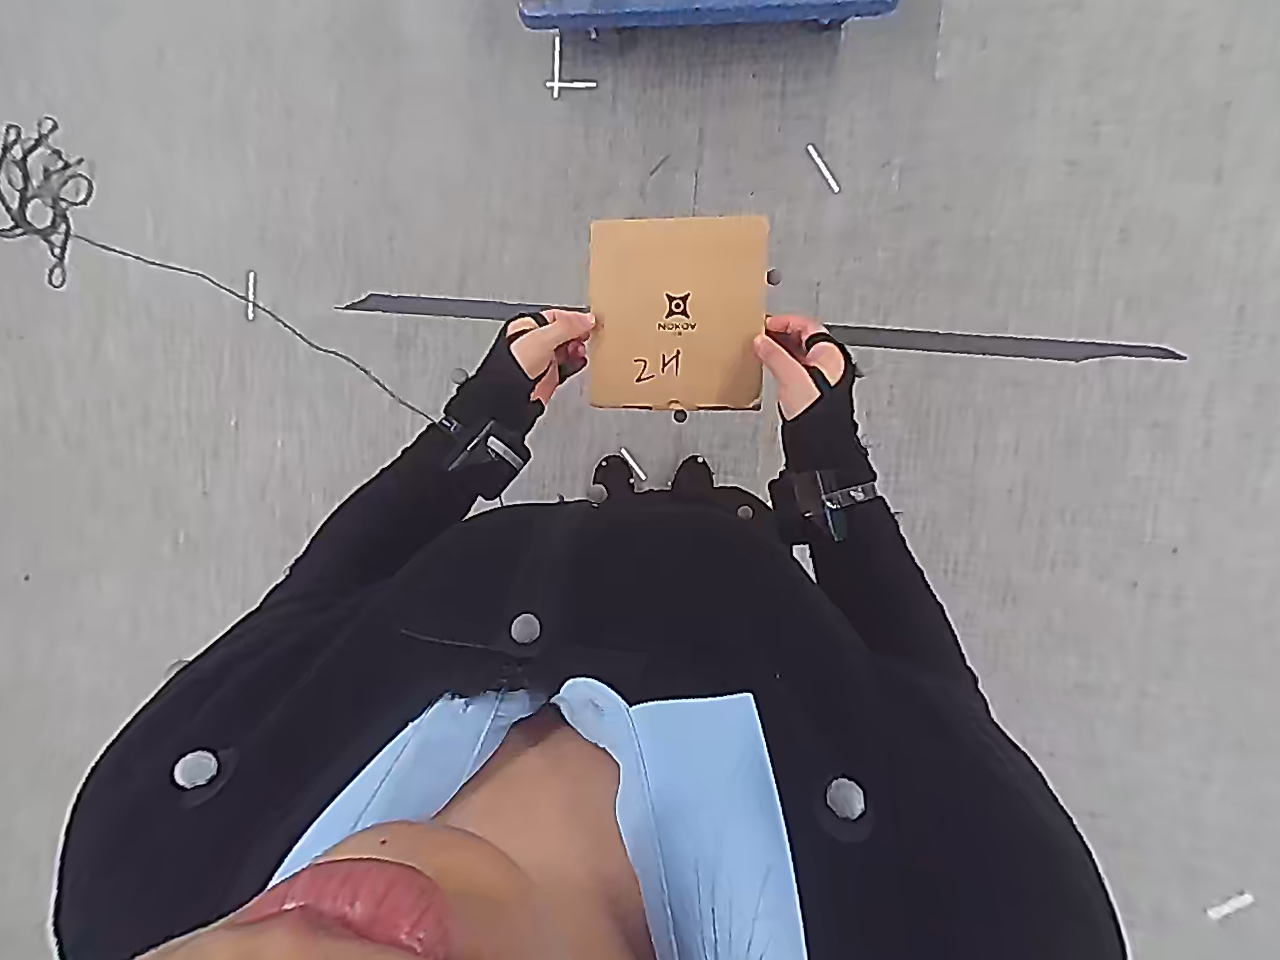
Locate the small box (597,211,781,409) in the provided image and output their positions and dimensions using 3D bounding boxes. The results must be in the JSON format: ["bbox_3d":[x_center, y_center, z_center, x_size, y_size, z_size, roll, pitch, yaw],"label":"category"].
[{"bbox_3d":[0.051,-0.166,0.577,0.168,0.176,0.179,2,99,7],"label":"small box"}]
